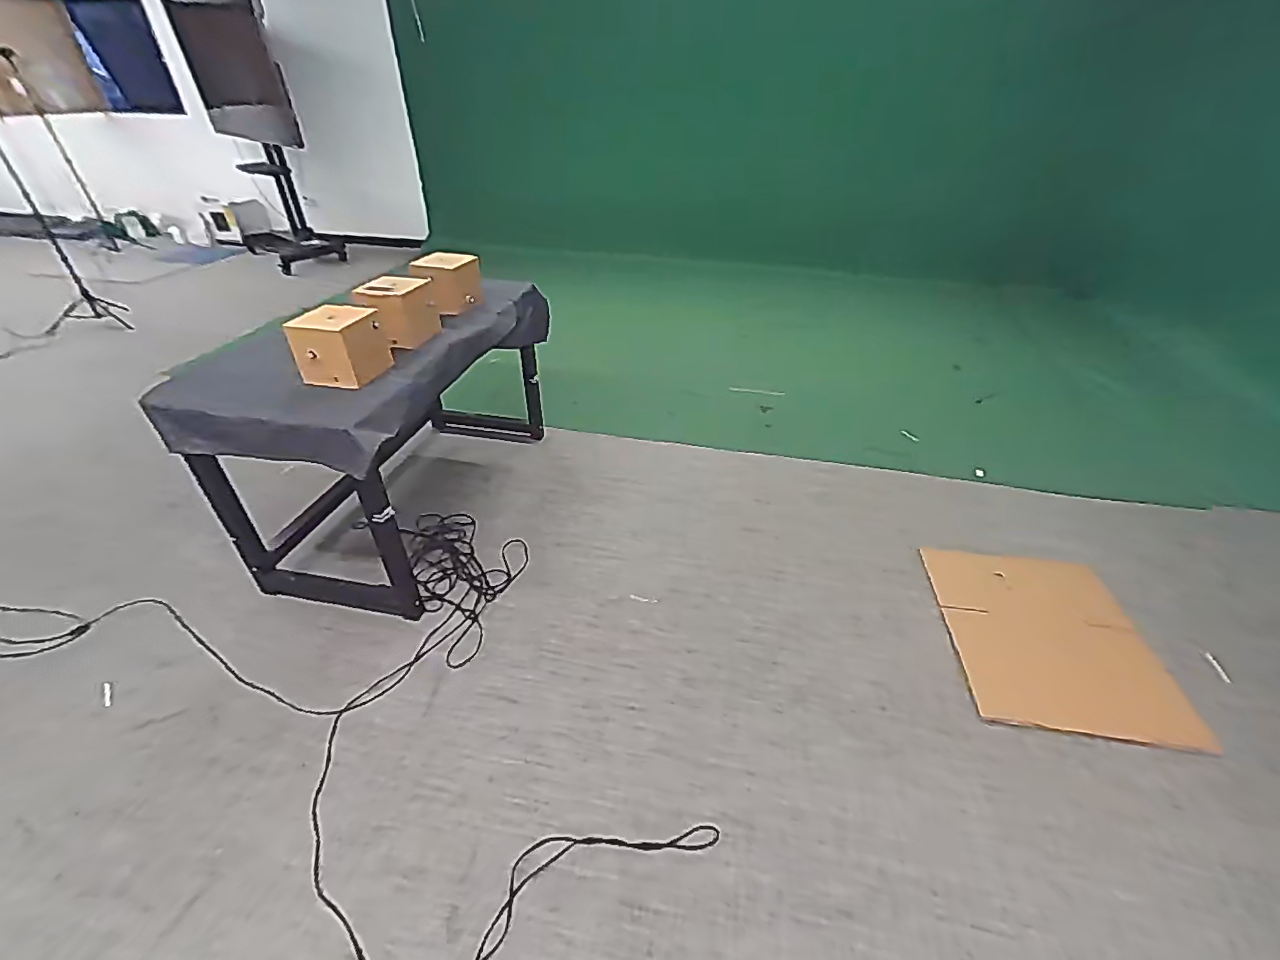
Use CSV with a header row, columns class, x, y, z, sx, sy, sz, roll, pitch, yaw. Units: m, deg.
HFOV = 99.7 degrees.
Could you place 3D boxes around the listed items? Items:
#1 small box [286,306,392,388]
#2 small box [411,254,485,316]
class,x,y,z,sx,sy,sz,roll,pitch,yaw
small box,-0.809,-0.363,1.478,0.168,0.176,0.179,7,36,9
small box,-0.685,-0.702,1.948,0.179,0.176,0.168,12,39,13
